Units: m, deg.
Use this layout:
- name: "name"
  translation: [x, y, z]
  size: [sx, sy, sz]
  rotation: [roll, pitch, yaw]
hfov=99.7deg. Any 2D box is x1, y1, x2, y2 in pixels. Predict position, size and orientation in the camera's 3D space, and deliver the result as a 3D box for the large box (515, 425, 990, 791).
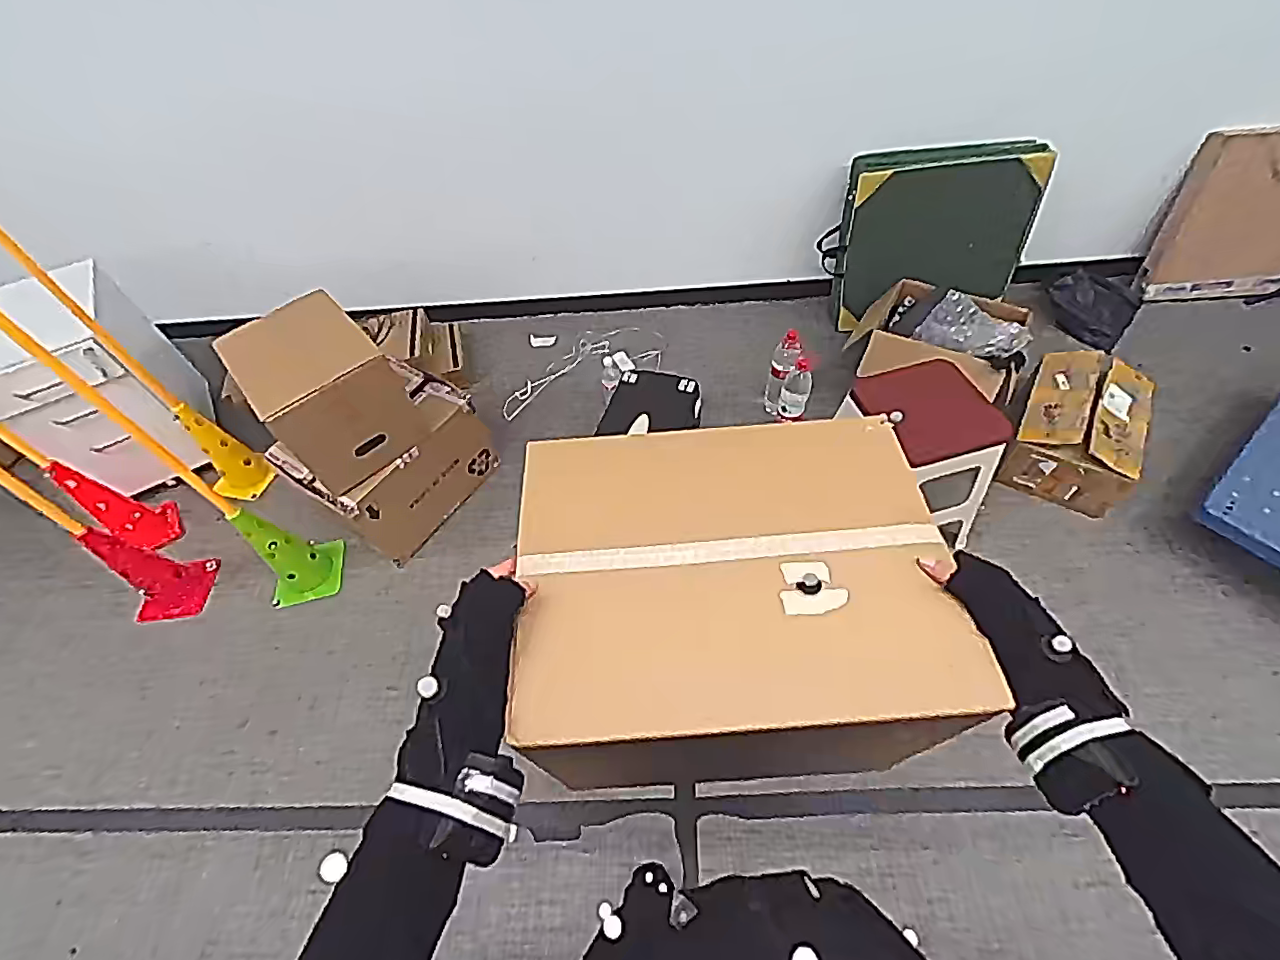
- name: "large box"
  translation: [0.089, 0.163, 0.649]
  size: [0.408, 0.320, 0.320]
  rotation: [-4, 54, 0]
